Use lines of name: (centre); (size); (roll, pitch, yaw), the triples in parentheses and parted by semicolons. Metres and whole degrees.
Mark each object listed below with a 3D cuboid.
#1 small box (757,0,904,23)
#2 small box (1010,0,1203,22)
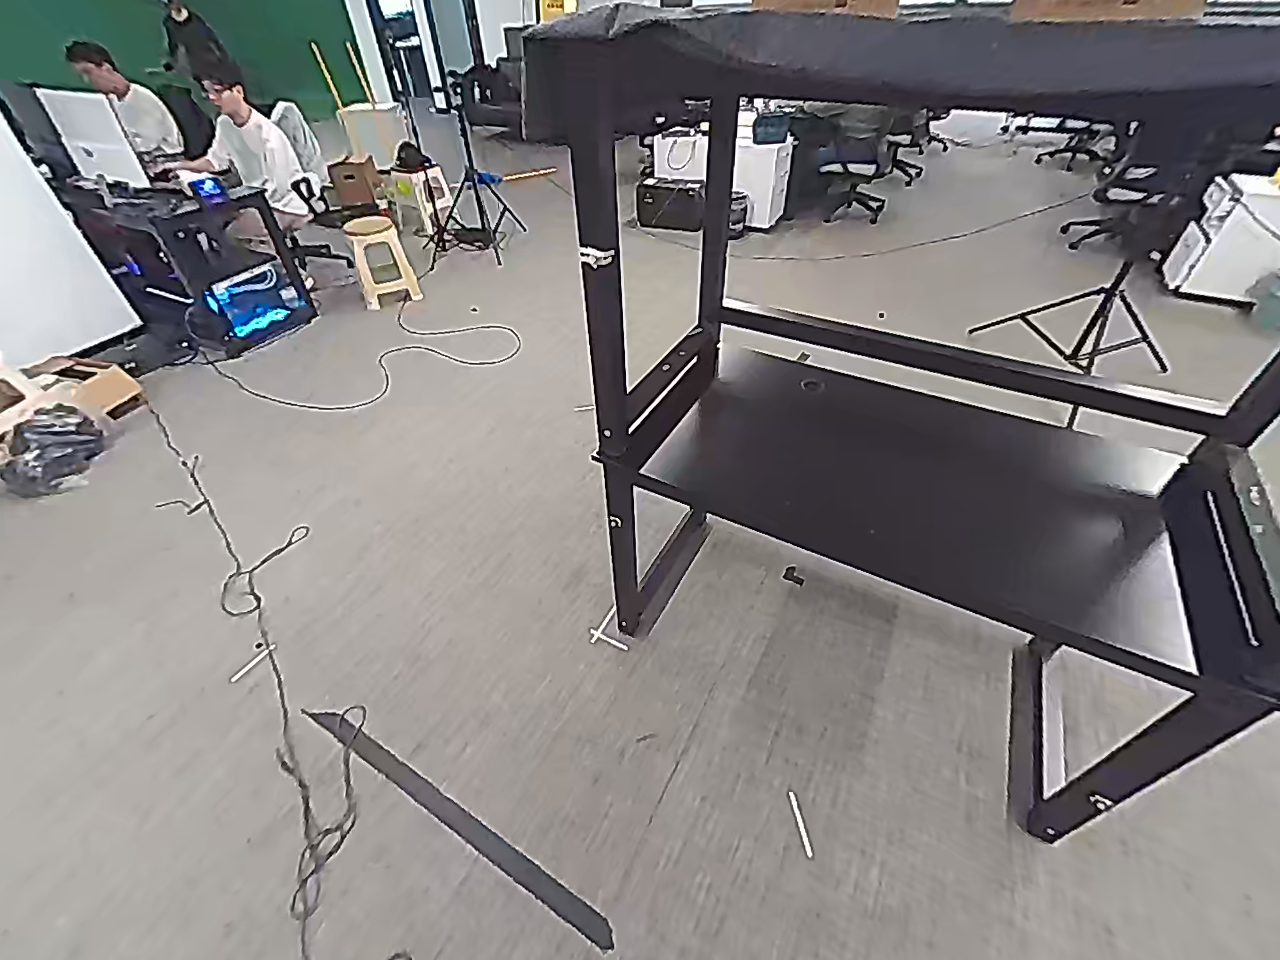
small box: (0.241, -0.653, 0.635); (0.168, 0.176, 0.179); (13, 44, 16)
small box: (0.500, -0.576, 0.544); (0.168, 0.176, 0.179); (20, 45, 21)
